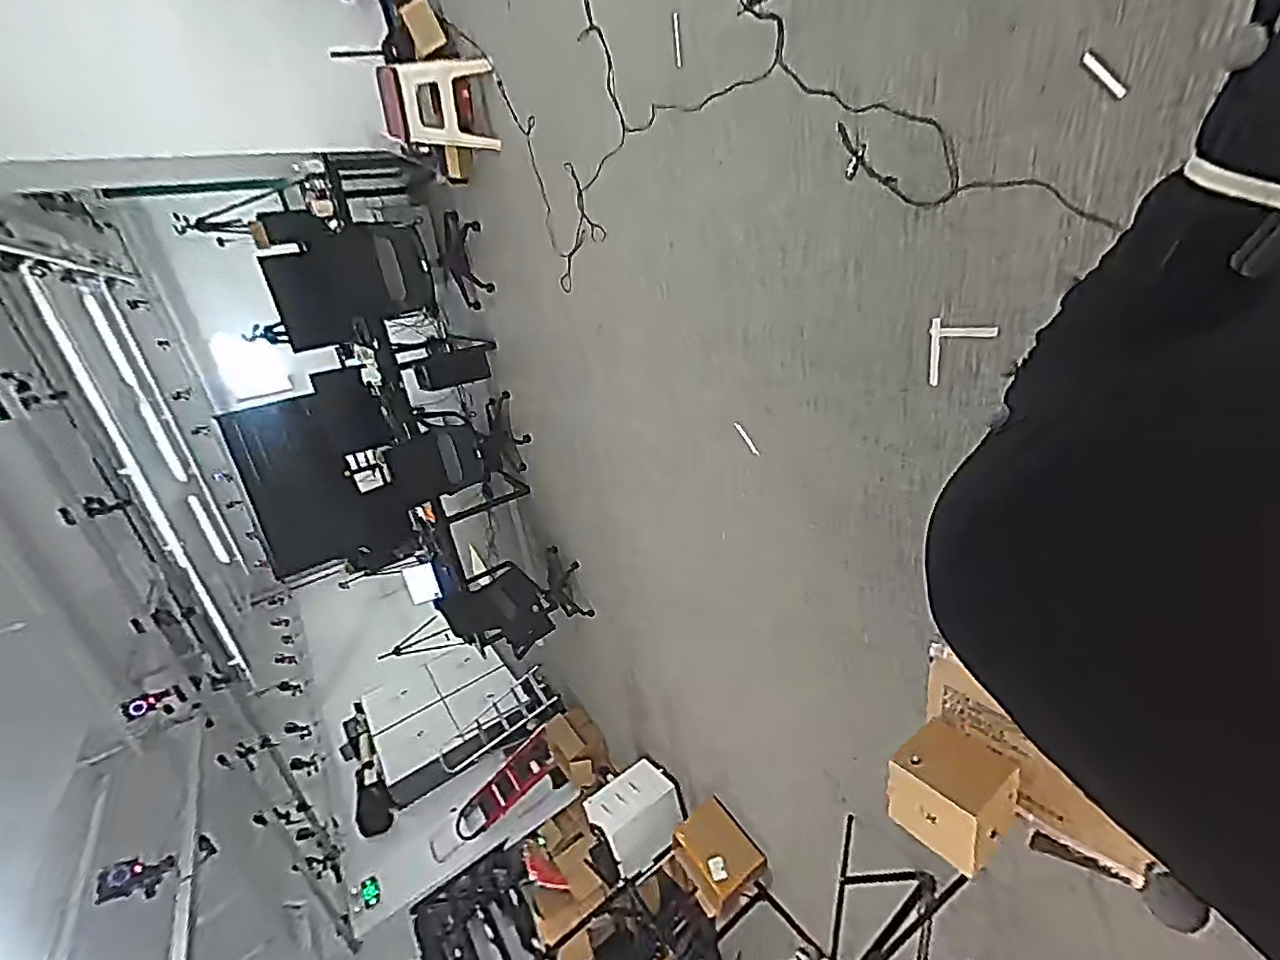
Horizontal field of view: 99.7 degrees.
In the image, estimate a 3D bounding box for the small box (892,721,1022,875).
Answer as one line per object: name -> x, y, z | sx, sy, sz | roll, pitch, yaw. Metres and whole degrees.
small box -> 0.641, 0.631, 1.099 | 0.179, 0.176, 0.168 | 21, 125, 55
